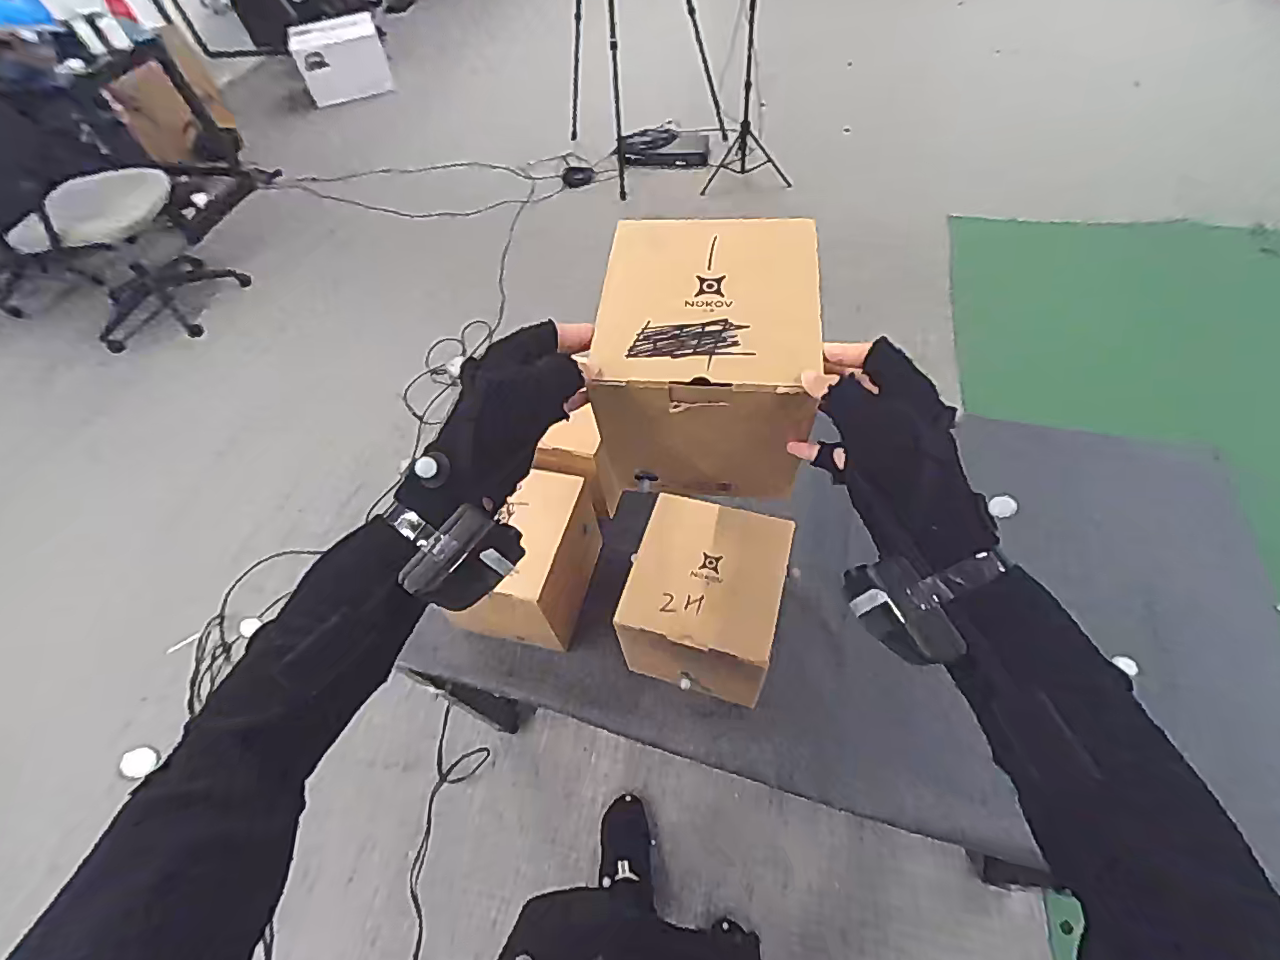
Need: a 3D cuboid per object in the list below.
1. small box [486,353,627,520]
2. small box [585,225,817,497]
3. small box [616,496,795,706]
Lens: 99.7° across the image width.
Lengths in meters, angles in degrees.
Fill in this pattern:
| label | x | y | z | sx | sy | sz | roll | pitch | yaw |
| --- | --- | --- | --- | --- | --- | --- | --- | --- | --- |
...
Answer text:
| label | x | y | z | sx | sy | sz | roll | pitch | yaw |
| --- | --- | --- | --- | --- | --- | --- | --- | --- | --- |
| small box | -0.107 | -0.065 | 0.834 | 0.168 | 0.176 | 0.179 | 11 | 58 | 13 |
| small box | 0.059 | -0.099 | 0.483 | 0.168 | 0.176 | 0.179 | 4 | 61 | 8 |
| small box | 0.081 | 0.150 | 0.662 | 0.168 | 0.176 | 0.179 | 12 | 57 | 14 |
